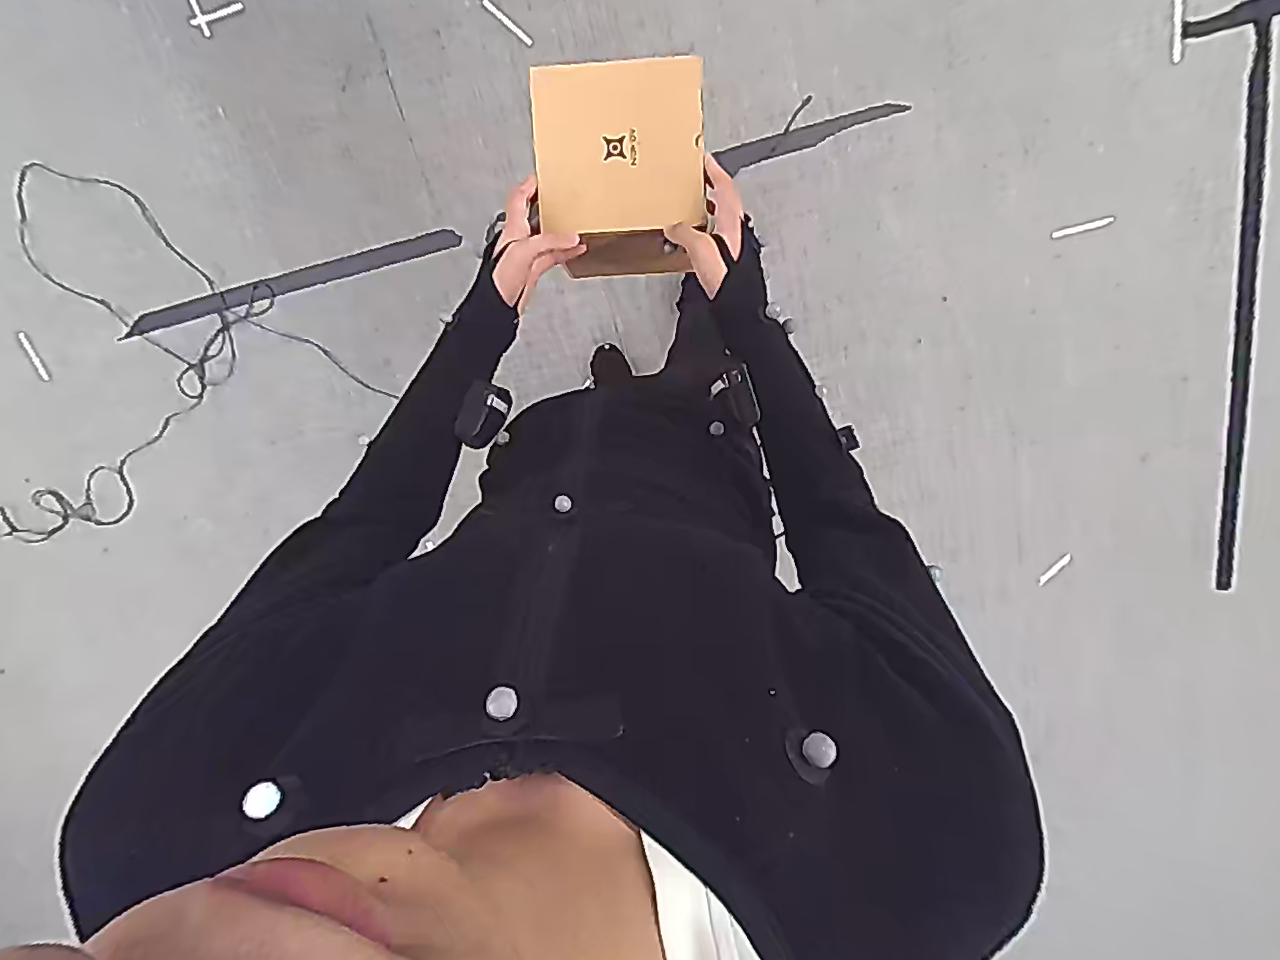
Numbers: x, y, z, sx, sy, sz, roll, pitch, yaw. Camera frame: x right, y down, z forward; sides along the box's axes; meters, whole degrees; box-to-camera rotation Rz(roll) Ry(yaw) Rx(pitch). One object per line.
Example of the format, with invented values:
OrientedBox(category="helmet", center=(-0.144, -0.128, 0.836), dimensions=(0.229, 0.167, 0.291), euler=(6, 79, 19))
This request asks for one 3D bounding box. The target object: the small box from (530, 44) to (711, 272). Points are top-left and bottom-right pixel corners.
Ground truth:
OrientedBox(category="small box", center=(-0.016, -0.345, 0.615), dimensions=(0.179, 0.176, 0.168), euler=(-3, 96, 2))
